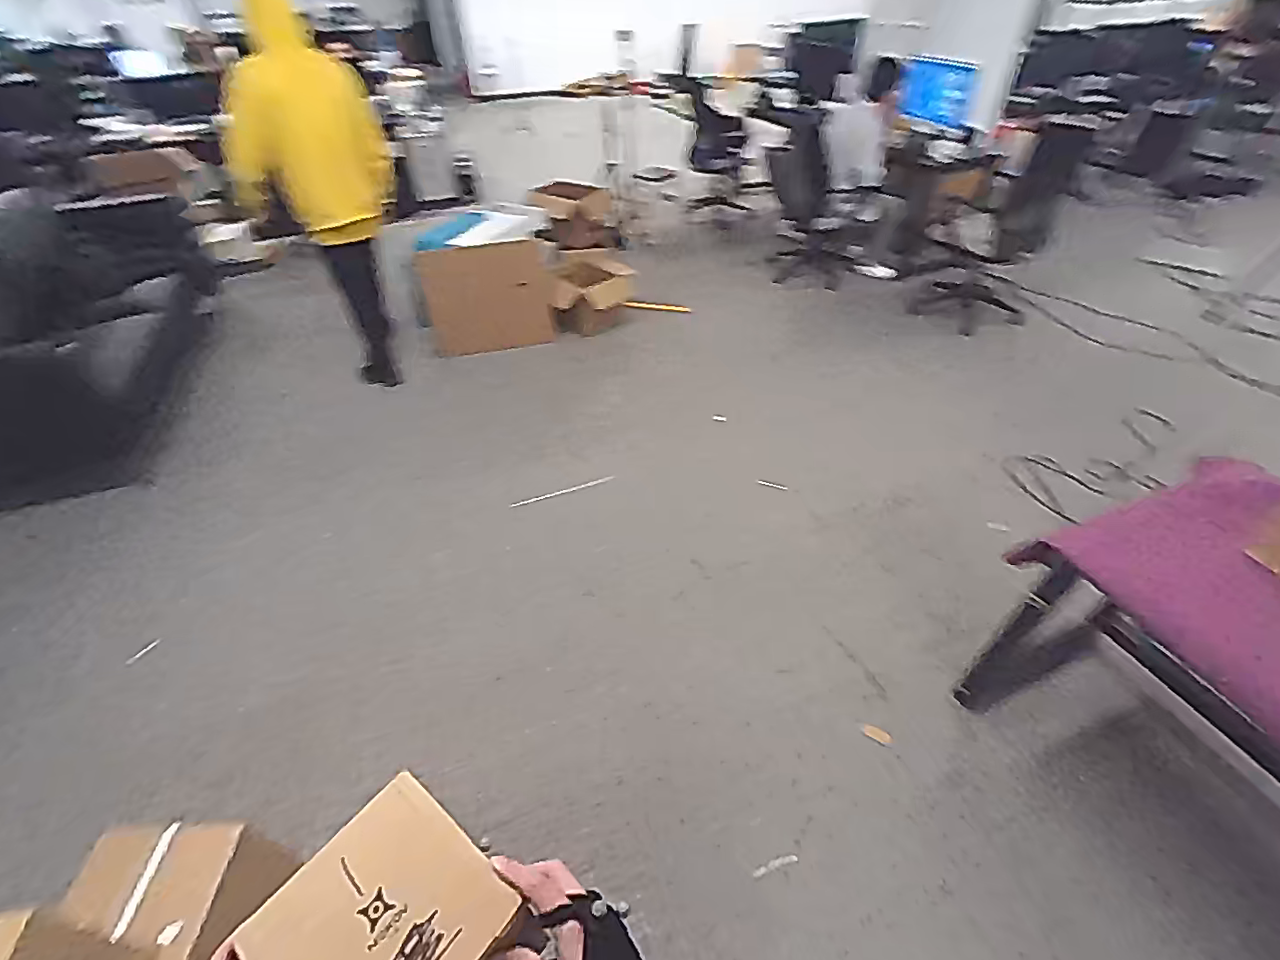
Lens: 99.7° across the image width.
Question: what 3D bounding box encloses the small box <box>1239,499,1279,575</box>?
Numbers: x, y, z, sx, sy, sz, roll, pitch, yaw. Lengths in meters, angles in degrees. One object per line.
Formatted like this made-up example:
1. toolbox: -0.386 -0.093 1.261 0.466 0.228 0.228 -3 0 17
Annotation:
1. small box: 1.349 0.108 1.051 0.179 0.176 0.168 -17 45 -16

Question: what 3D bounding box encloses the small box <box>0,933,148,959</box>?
1. small box: -0.998 0.896 0.910 0.179 0.176 0.168 -7 43 -8
